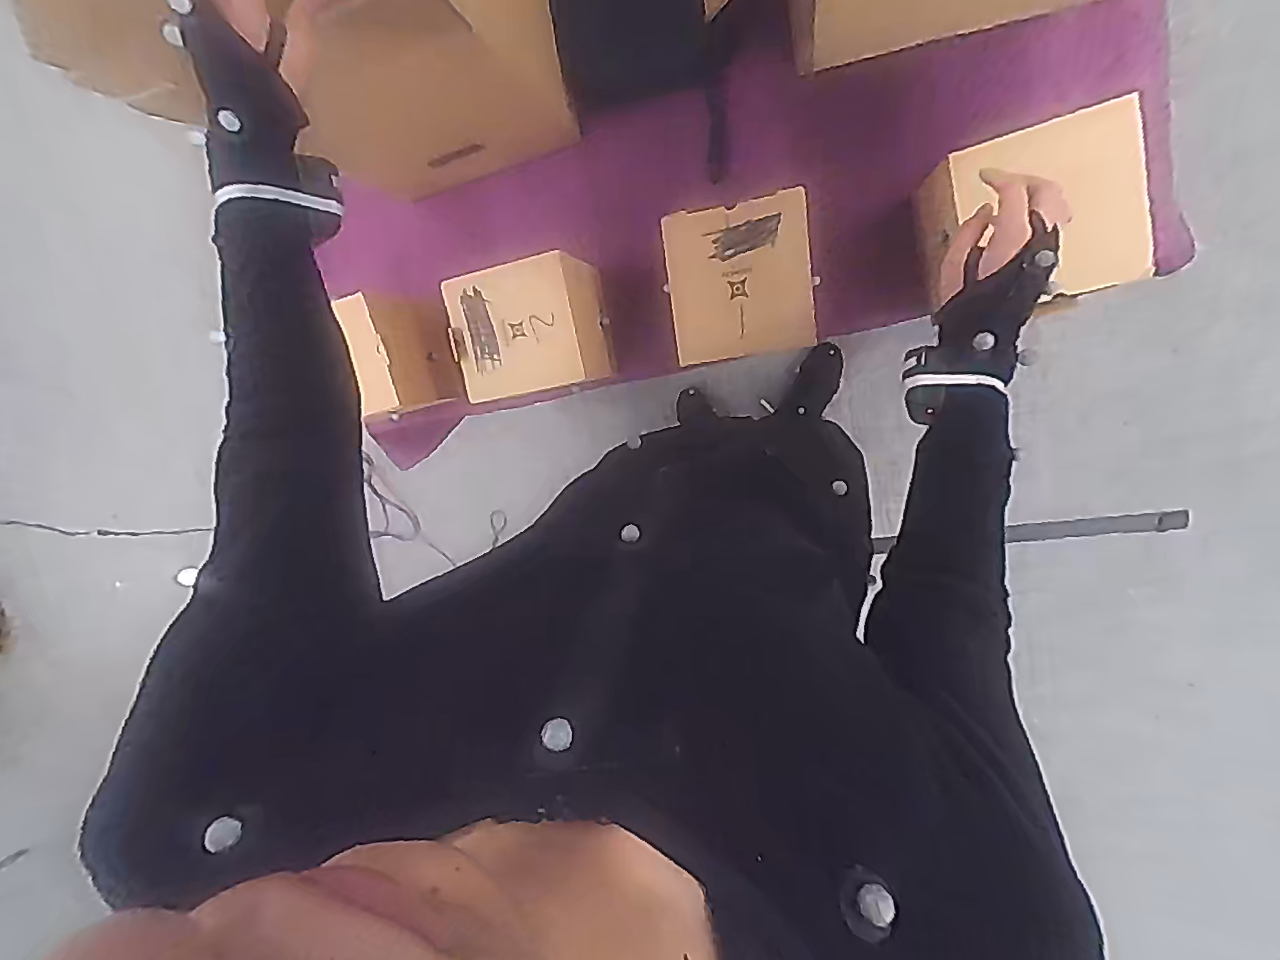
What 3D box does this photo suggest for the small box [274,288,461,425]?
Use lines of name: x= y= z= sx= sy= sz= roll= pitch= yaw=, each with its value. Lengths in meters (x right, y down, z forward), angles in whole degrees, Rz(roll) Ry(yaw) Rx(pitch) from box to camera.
small box: x=-0.421 y=-0.192 z=0.862 sx=0.179 sy=0.176 sz=0.168 roll=-12 pitch=101 yaw=15

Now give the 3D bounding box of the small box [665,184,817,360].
small box: x=0.135 y=-0.256 z=0.708 sx=0.168 sy=0.176 sz=0.179 roll=-5 pitch=103 yaw=15

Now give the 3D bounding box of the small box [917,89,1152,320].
small box: x=0.435 y=-0.294 z=0.623 sx=0.168 sy=0.176 sz=0.179 roll=-11 pitch=101 yaw=17
